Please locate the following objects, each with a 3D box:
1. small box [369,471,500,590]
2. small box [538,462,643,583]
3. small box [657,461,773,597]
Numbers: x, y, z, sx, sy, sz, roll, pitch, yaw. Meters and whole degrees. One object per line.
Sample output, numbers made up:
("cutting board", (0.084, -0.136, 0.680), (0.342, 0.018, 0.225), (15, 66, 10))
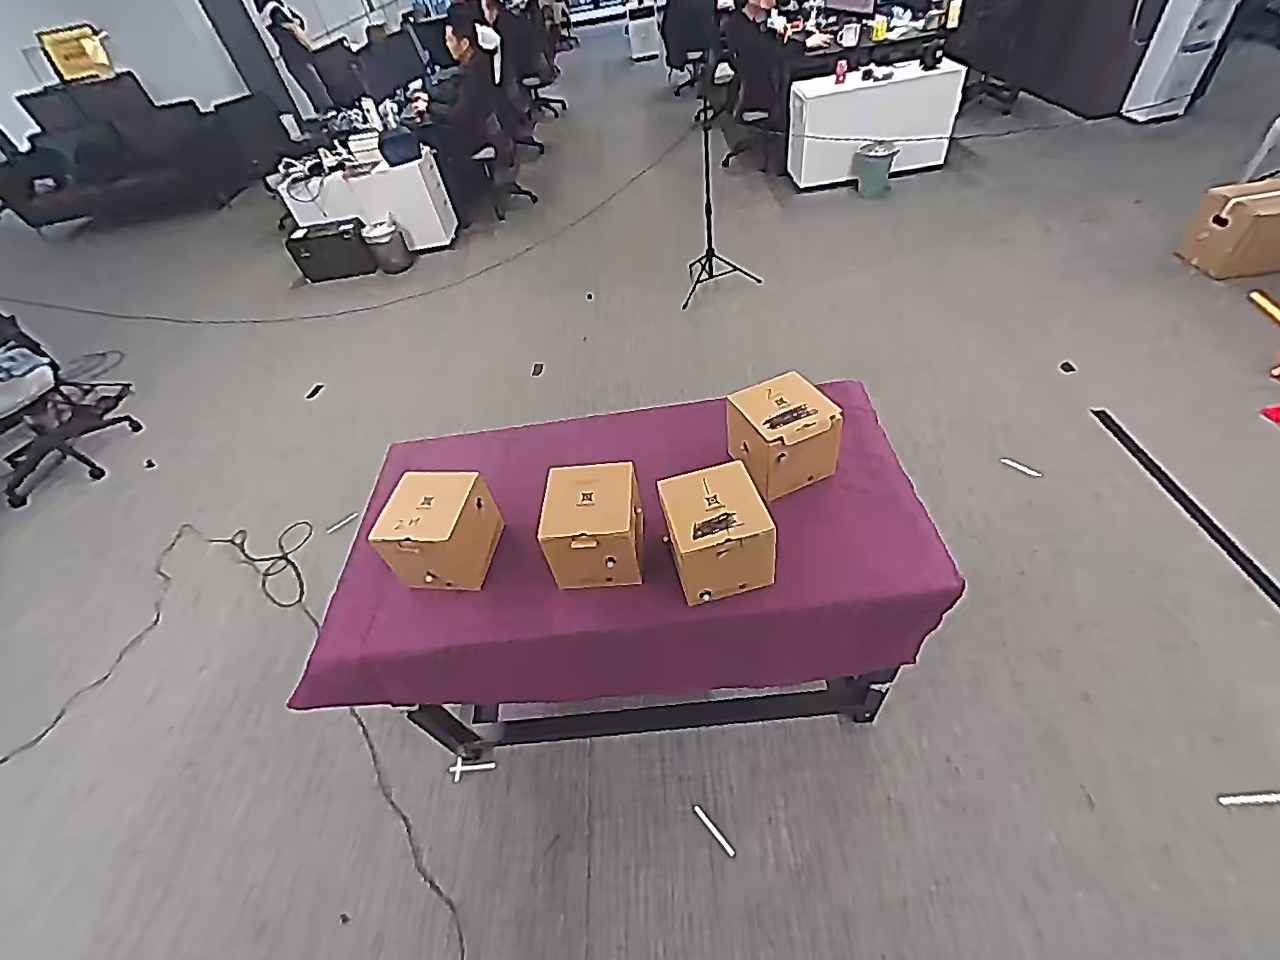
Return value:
("small box", (-0.401, 0.100, 1.096), (0.168, 0.176, 0.179), (0, 48, 11))
("small box", (-0.087, 0.089, 1.051), (0.168, 0.176, 0.179), (-4, 46, 6))
("small box", (0.138, 0.097, 0.999), (0.168, 0.176, 0.179), (-14, 45, -2))
